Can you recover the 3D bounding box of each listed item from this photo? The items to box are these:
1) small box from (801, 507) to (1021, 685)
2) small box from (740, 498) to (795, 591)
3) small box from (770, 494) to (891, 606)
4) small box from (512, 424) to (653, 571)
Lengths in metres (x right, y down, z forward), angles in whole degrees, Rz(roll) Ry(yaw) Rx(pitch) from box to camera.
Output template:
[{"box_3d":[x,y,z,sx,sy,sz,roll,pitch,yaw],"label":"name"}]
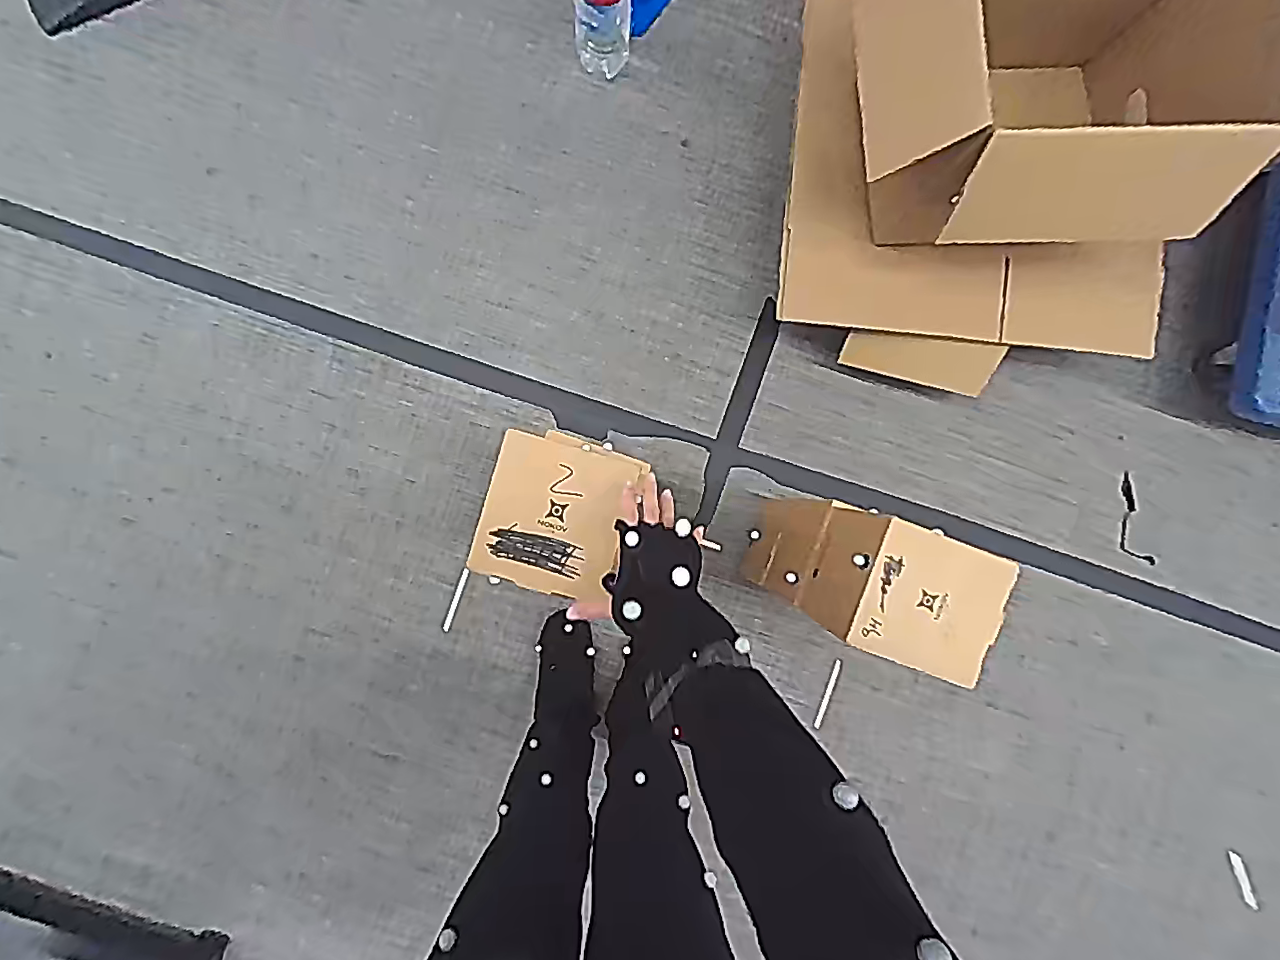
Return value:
[{"box_3d":[0.350,0.143,0.731,0.179,0.176,0.168,21,90,-5],"label":"small box"},{"box_3d":[0.321,0.140,1.056,0.179,0.176,0.168,23,89,-3],"label":"small box"},{"box_3d":[0.334,0.129,0.894,0.168,0.176,0.179,19,90,-4],"label":"small box"},{"box_3d":[-0.087,0.027,0.872,0.168,0.176,0.179,20,88,-3],"label":"small box"}]
